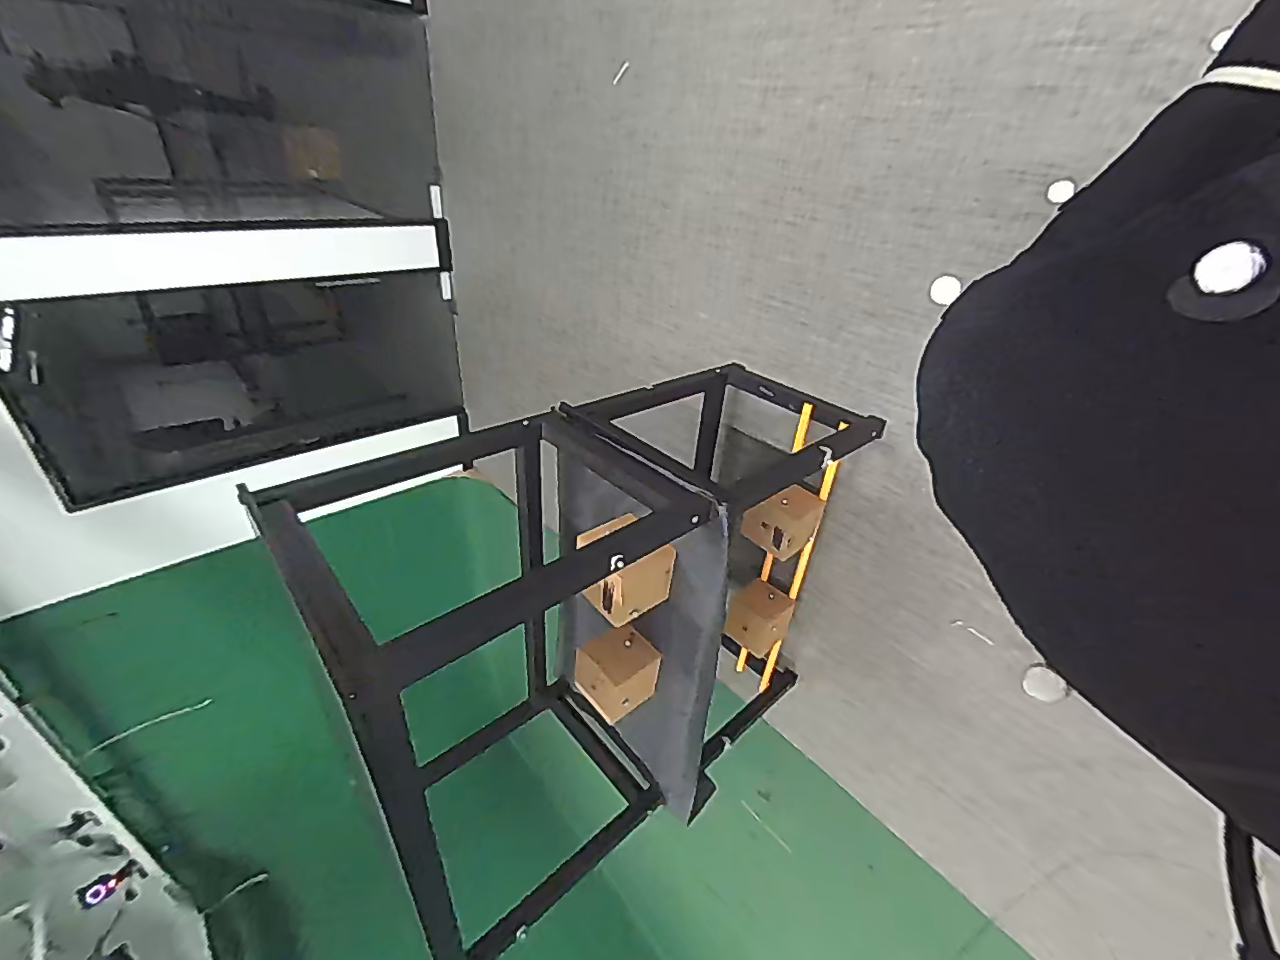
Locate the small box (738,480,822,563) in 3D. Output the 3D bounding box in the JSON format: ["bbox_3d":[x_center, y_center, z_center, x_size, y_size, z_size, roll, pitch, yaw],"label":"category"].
[{"bbox_3d":[0.443,0.123,1.702,0.179,0.176,0.168,36,133,35],"label":"small box"}]

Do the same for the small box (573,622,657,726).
[{"bbox_3d":[-0.071,0.536,1.507,0.168,0.176,0.179,36,133,35],"label":"small box"}]
